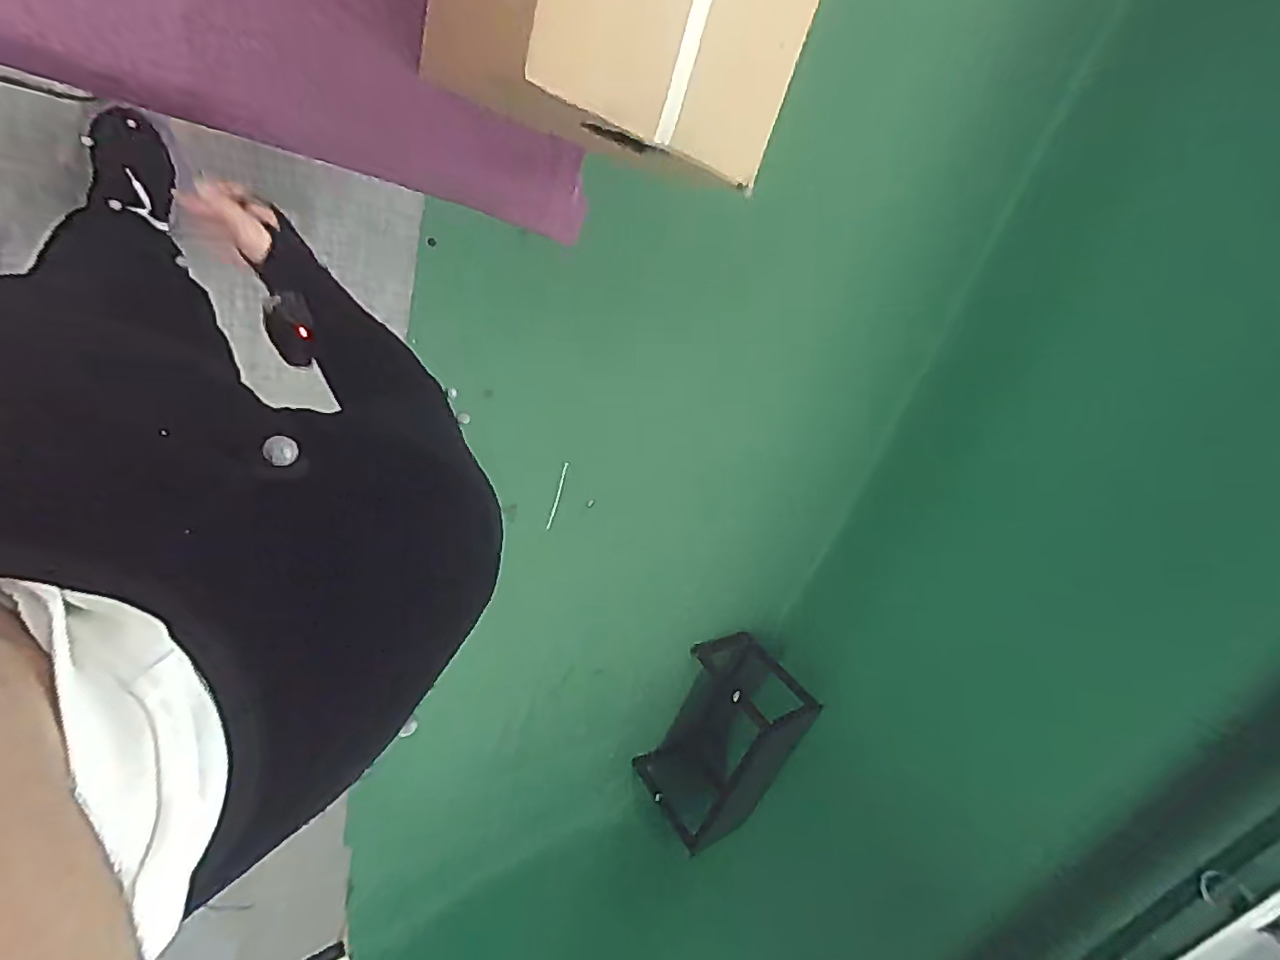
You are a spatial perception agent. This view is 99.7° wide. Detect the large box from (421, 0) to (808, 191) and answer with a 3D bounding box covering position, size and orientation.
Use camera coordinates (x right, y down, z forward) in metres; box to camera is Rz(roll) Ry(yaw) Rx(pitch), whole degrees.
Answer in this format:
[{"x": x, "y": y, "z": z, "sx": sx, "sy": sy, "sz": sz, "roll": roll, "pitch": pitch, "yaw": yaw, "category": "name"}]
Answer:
[{"x": -0.015, "y": -0.599, "z": 0.588, "sx": 0.320, "sy": 0.320, "sz": 0.408, "roll": -2, "pitch": 122, "yaw": -39, "category": "large box"}]
